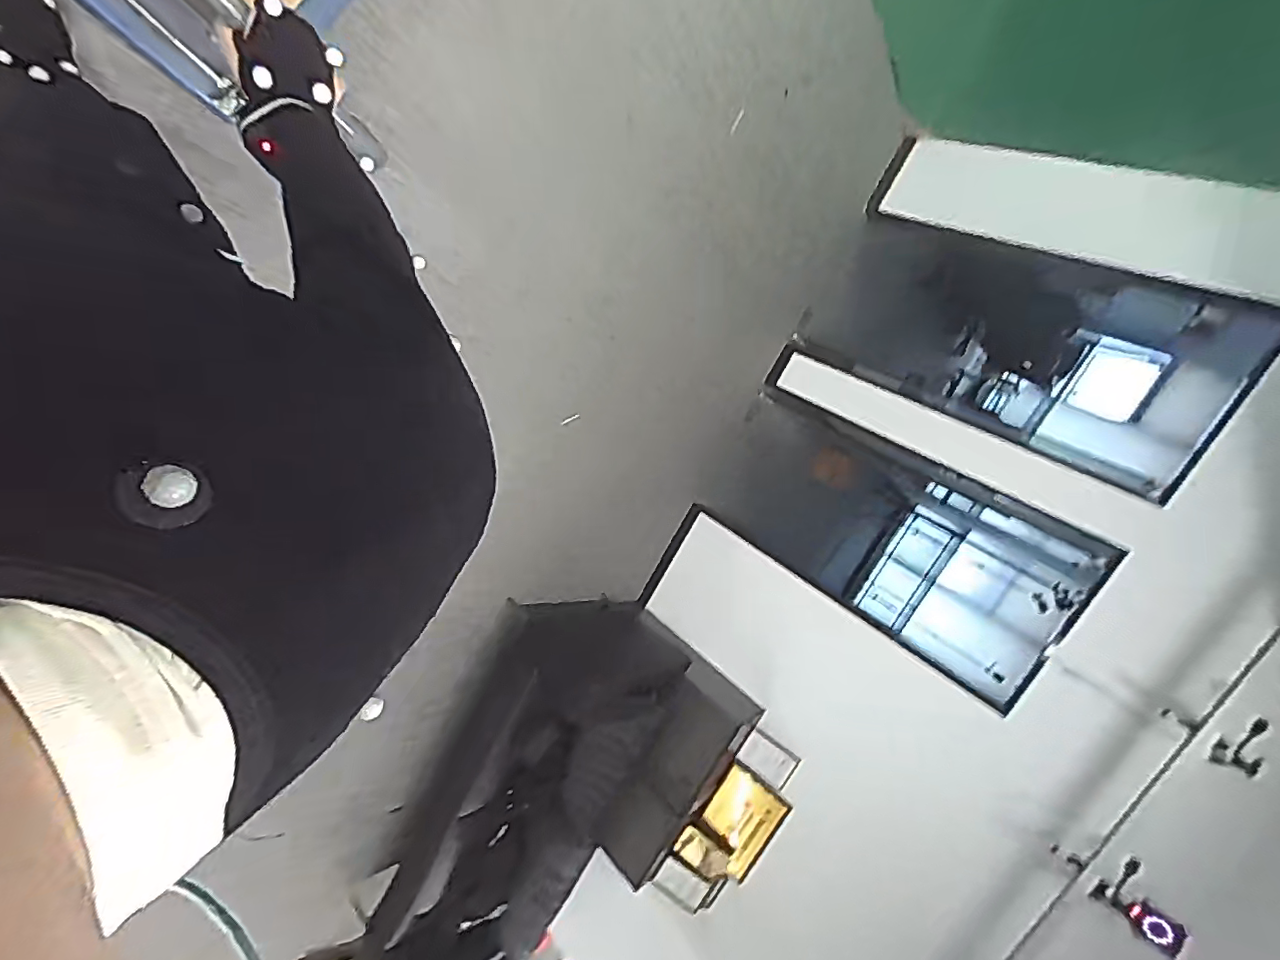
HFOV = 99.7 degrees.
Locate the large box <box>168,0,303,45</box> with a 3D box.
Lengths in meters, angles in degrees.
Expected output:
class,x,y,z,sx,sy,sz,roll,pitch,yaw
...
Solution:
class,x,y,z,sx,sy,sz,roll,pitch,yaw
large box,-0.627,-0.937,0.780,0.408,0.320,0.320,-54,149,-3
